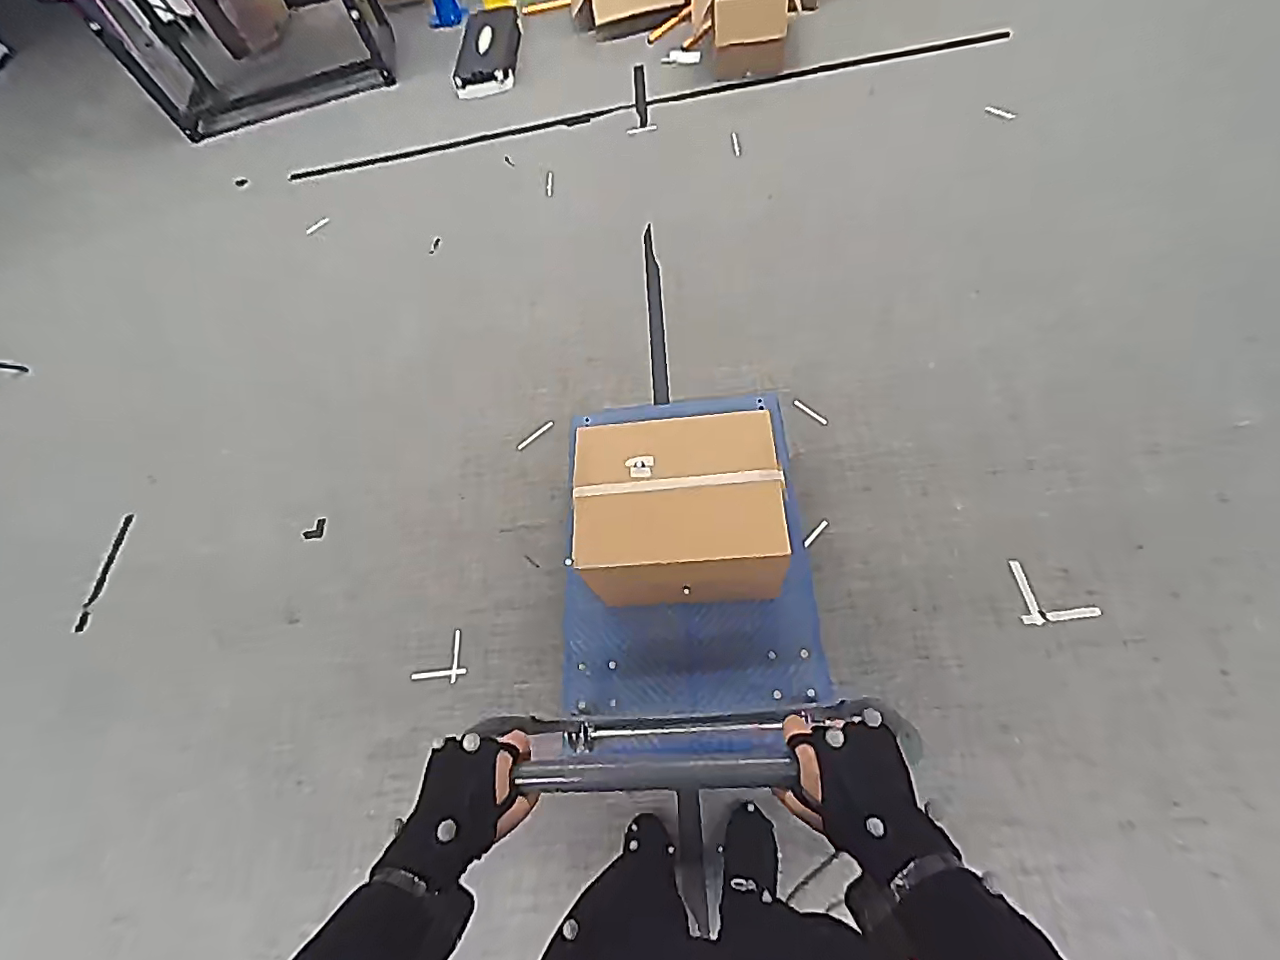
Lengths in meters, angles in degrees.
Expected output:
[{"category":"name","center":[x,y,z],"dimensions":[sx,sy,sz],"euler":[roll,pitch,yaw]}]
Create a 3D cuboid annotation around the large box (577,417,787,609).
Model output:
[{"category":"large box","center":[0.094,0.091,1.212],"dimensions":[0.408,0.320,0.320],"euler":[-6,62,8]}]
